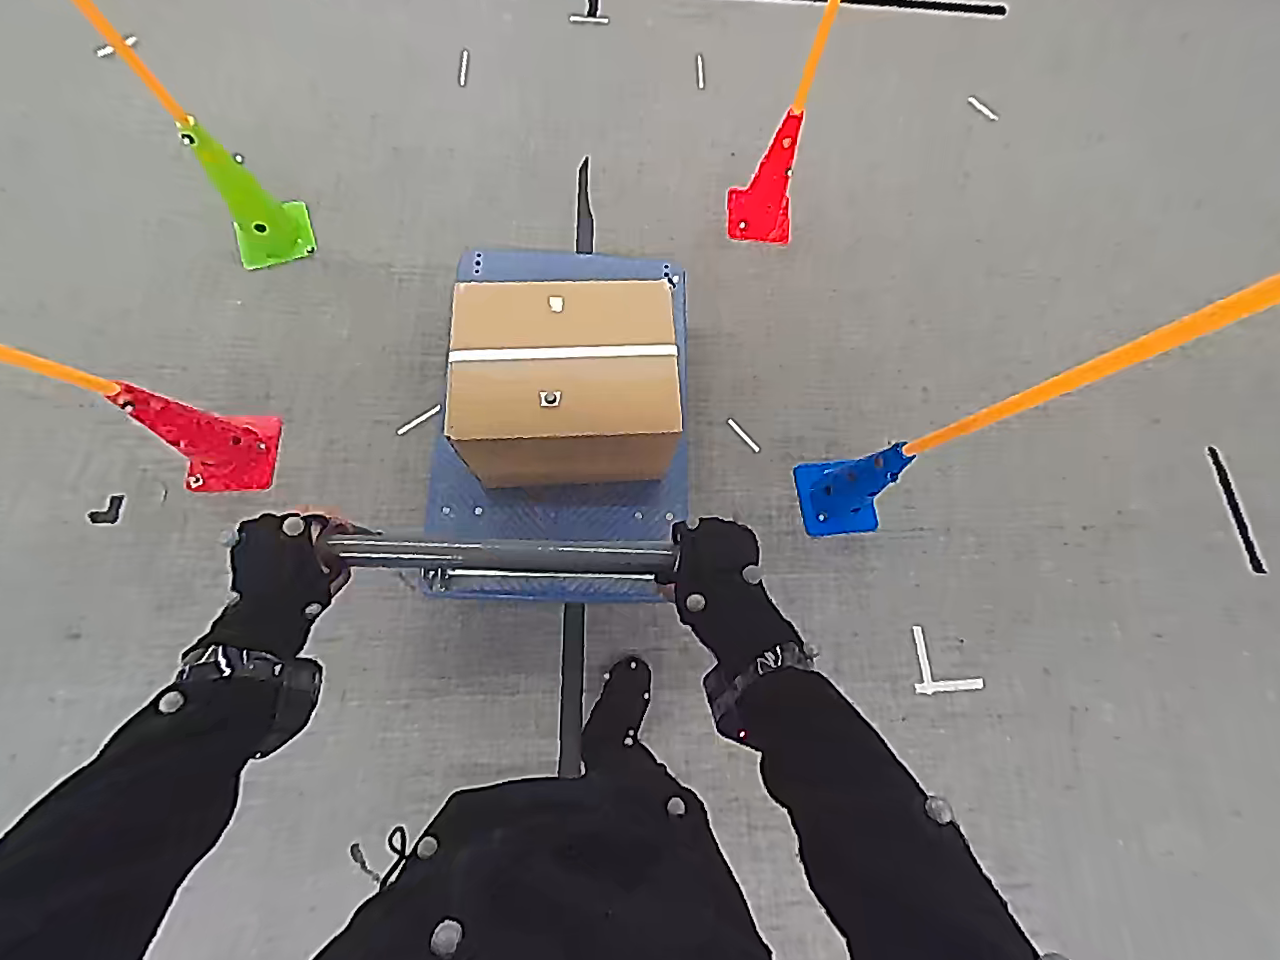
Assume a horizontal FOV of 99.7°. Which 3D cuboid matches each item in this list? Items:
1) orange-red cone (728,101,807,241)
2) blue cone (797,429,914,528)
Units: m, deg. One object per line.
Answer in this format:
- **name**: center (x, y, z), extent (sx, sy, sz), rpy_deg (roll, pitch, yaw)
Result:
- **orange-red cone**: center (0.389, -0.887, 1.522), extent (0.199, 0.360, 0.198), rpy_deg (7, 73, -3)
- **blue cone**: center (0.534, -0.020, 1.280), extent (0.193, 0.380, 0.192), rpy_deg (-4, 72, -6)
